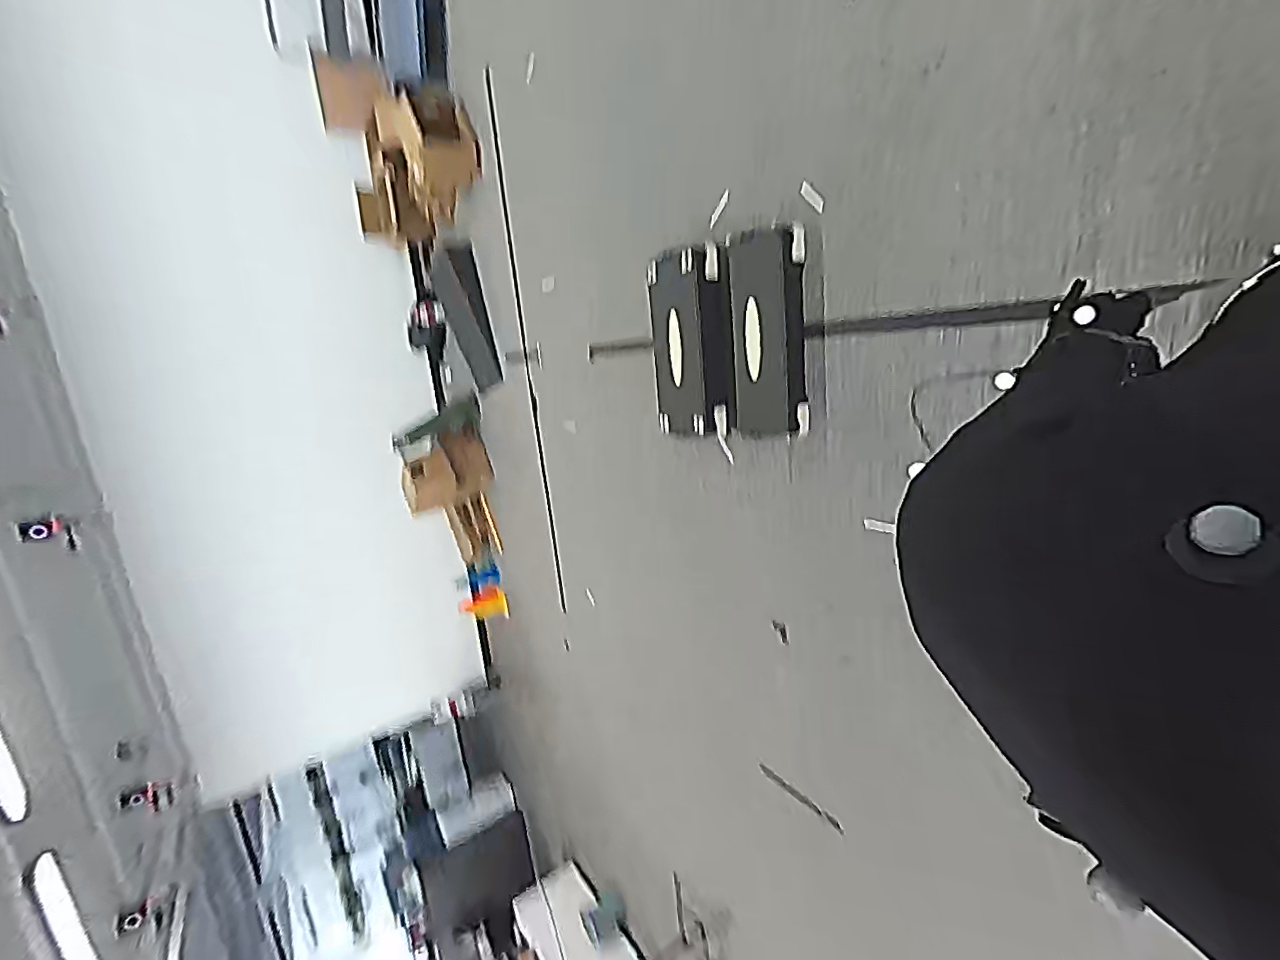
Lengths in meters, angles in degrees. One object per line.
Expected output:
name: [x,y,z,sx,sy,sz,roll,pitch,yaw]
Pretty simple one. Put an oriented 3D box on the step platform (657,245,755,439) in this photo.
step platform: [0.241,-0.493,1.997,0.286,0.204,0.684,11,110,53]
